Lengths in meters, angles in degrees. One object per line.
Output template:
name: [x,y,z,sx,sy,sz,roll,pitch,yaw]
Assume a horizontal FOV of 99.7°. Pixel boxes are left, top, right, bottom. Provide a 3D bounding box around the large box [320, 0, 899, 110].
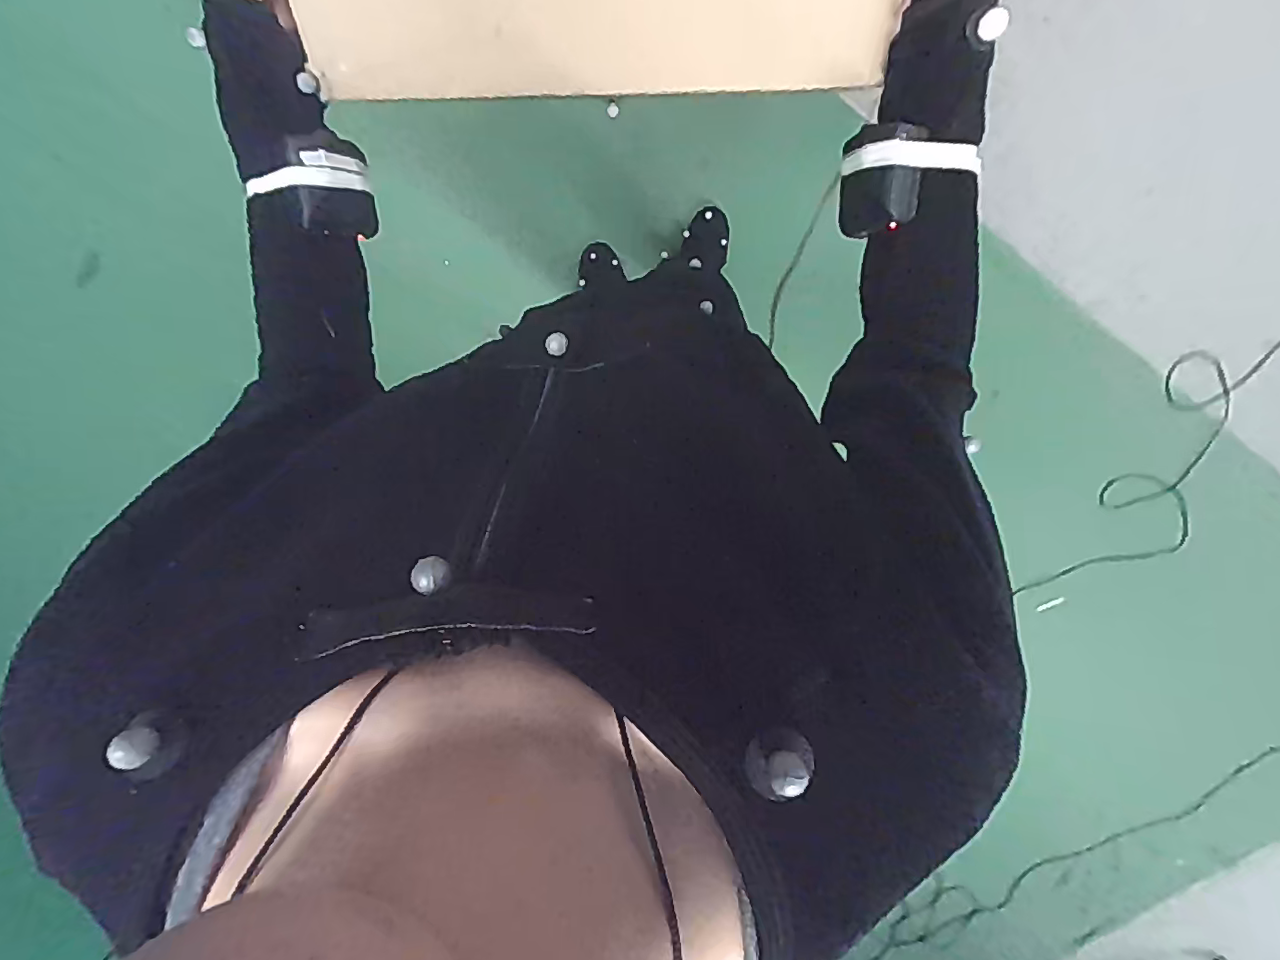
large box: [-0.020,-0.495,0.433,0.408,0.320,0.320,0,125,2]
